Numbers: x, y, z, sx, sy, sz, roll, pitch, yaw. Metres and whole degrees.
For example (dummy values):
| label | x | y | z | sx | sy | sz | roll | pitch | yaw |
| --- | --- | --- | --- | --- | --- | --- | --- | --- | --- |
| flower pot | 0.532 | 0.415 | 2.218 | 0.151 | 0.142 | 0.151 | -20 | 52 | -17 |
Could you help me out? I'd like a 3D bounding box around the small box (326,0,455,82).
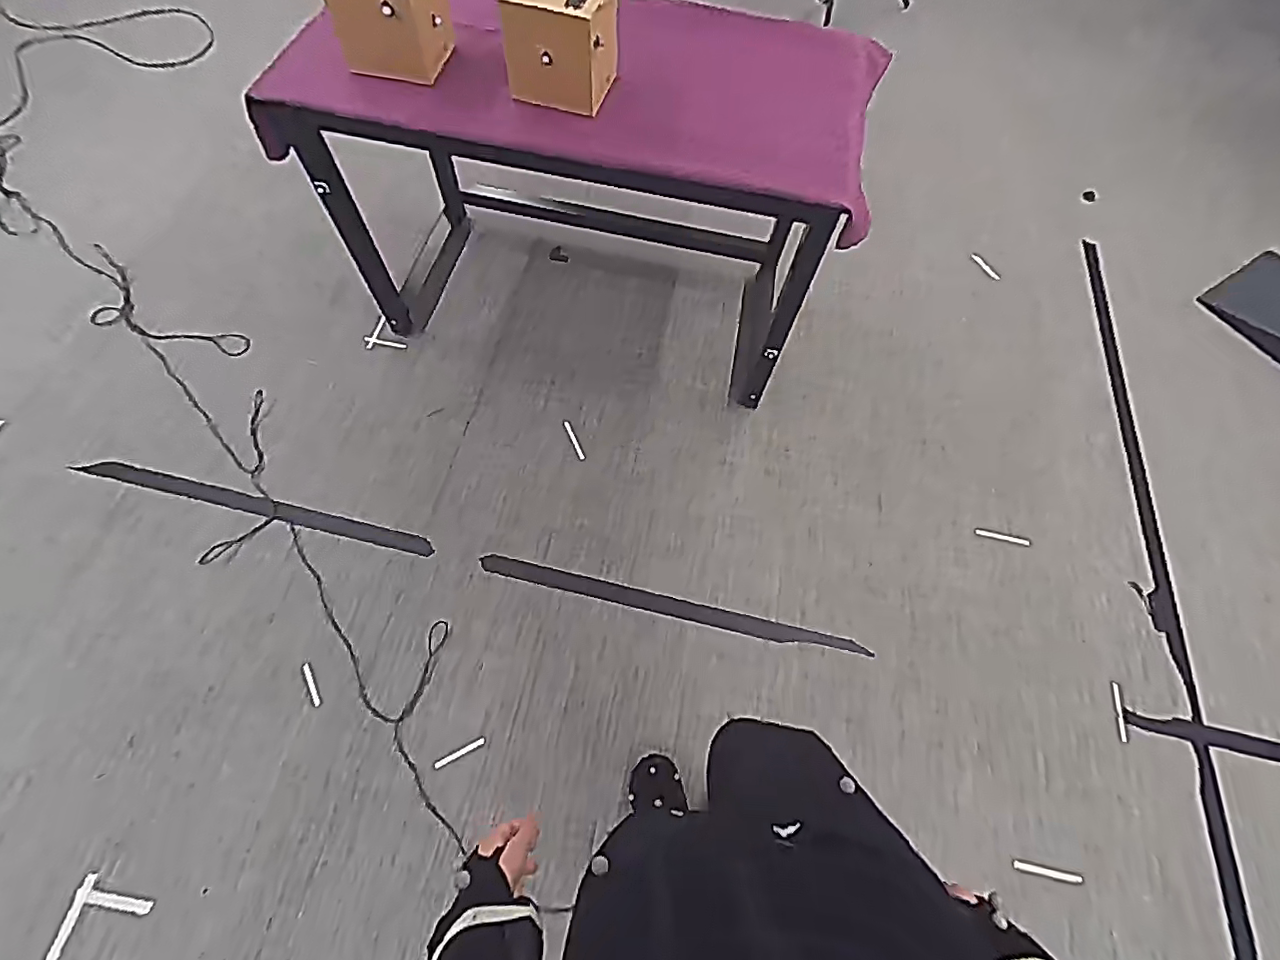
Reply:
| label | x | y | z | sx | sy | sz | roll | pitch | yaw |
| --- | --- | --- | --- | --- | --- | --- | --- | --- | --- |
| small box | -0.486 | -0.926 | 1.066 | 0.179 | 0.176 | 0.168 | 10 | 63 | 1 |
